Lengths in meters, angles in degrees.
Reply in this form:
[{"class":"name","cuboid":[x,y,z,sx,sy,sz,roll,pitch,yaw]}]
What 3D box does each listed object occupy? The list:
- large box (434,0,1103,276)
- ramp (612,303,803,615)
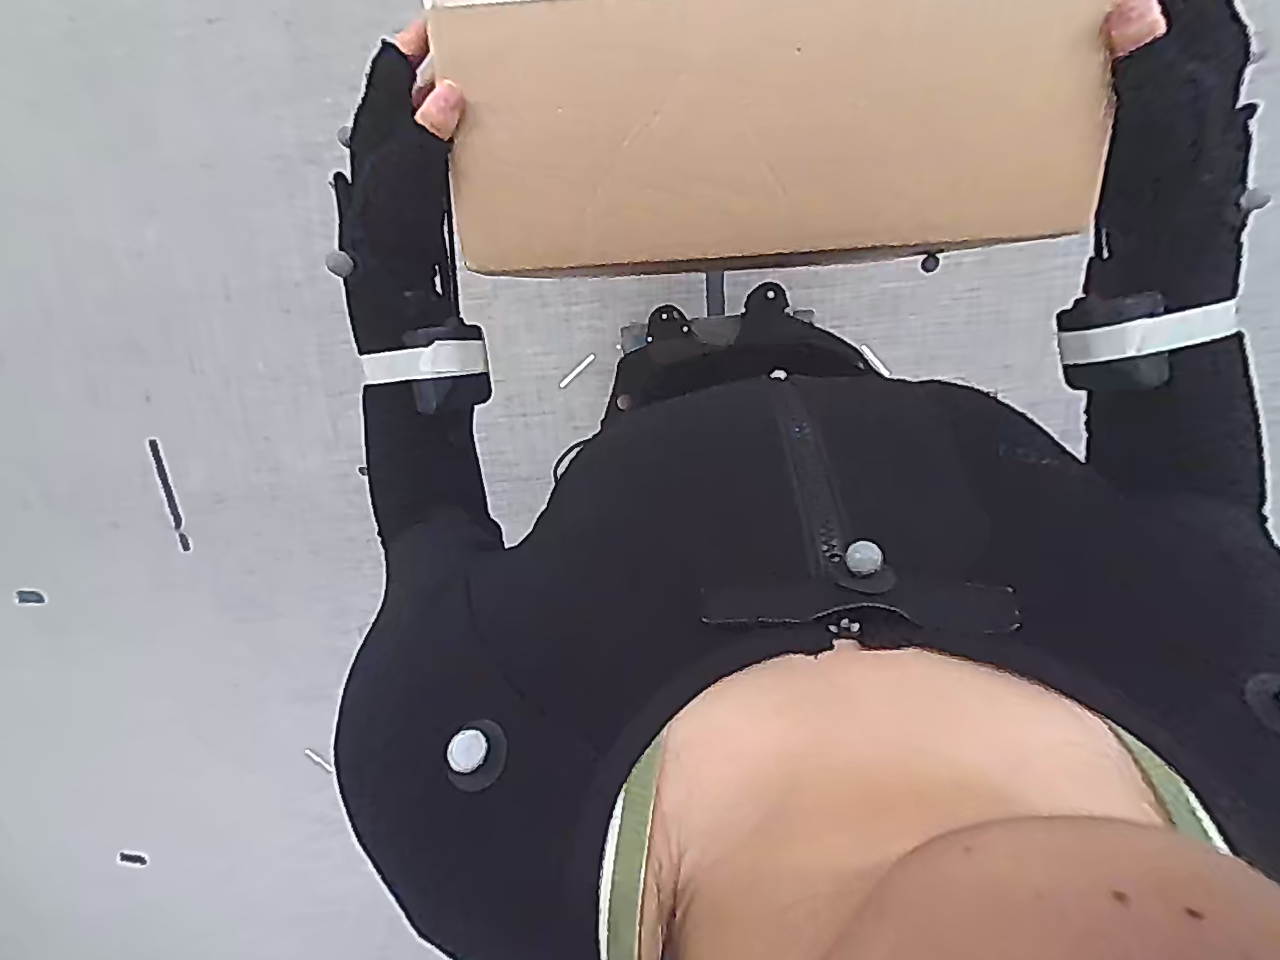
[{"class":"large box","cuboid":[0.078,-0.349,0.455,0.408,0.320,0.320,-3,109,2]},{"class":"ramp","cuboid":[0.216,0.006,1.602,0.509,0.206,0.991,-6,108,4]}]
